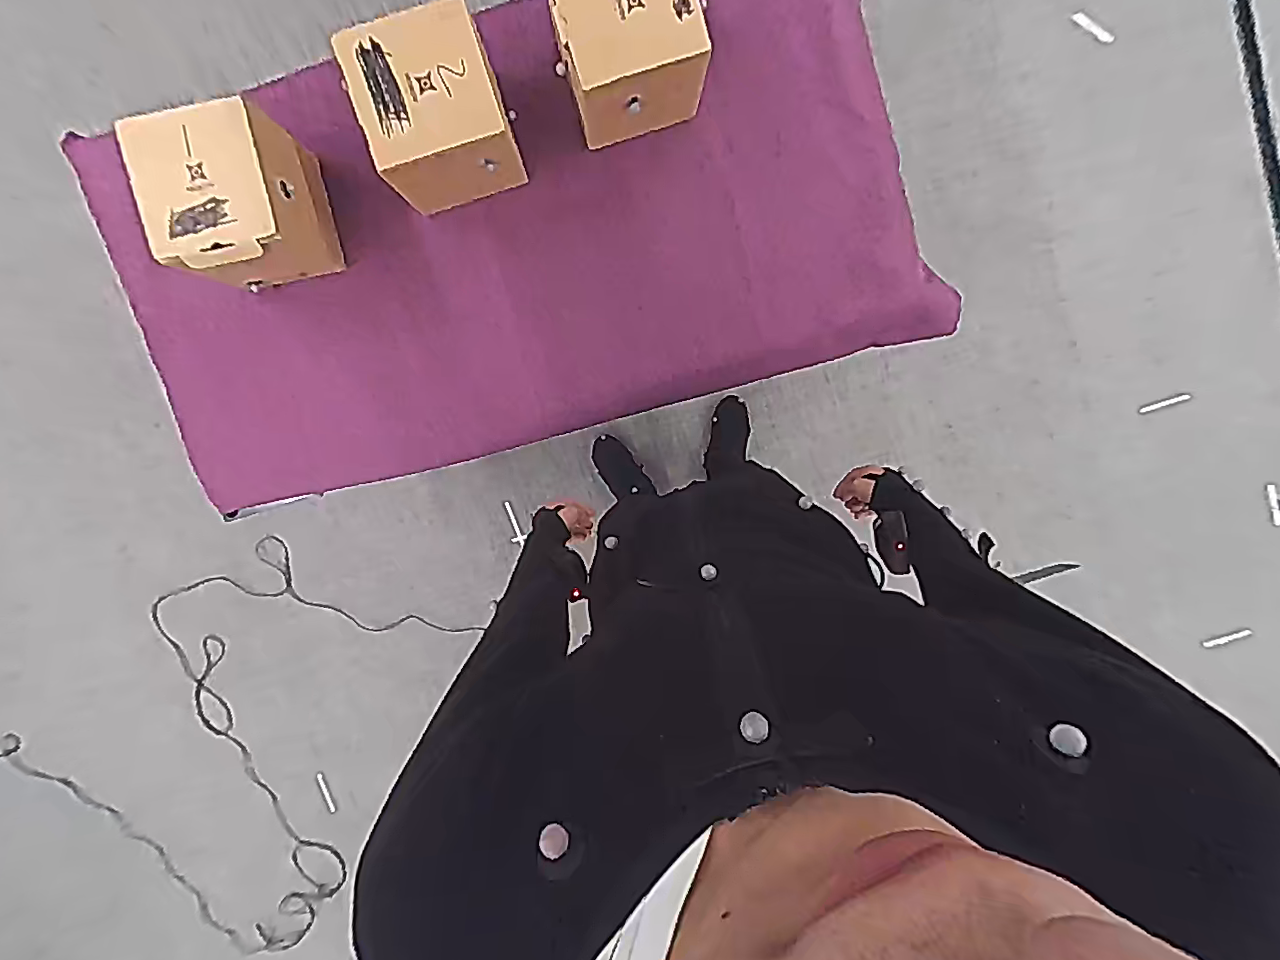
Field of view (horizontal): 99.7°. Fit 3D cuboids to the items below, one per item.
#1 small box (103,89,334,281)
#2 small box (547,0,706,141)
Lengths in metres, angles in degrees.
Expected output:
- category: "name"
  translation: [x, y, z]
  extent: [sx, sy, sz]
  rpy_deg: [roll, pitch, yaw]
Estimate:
- category: "small box"
  translation: [-0.561, -0.388, 0.749]
  extent: [0.168, 0.176, 0.179]
  rpy_deg: [-12, 97, -1]
- category: "small box"
  translation: [-0.022, -0.604, 0.741]
  extent: [0.179, 0.176, 0.168]
  rpy_deg: [-17, 99, 1]
